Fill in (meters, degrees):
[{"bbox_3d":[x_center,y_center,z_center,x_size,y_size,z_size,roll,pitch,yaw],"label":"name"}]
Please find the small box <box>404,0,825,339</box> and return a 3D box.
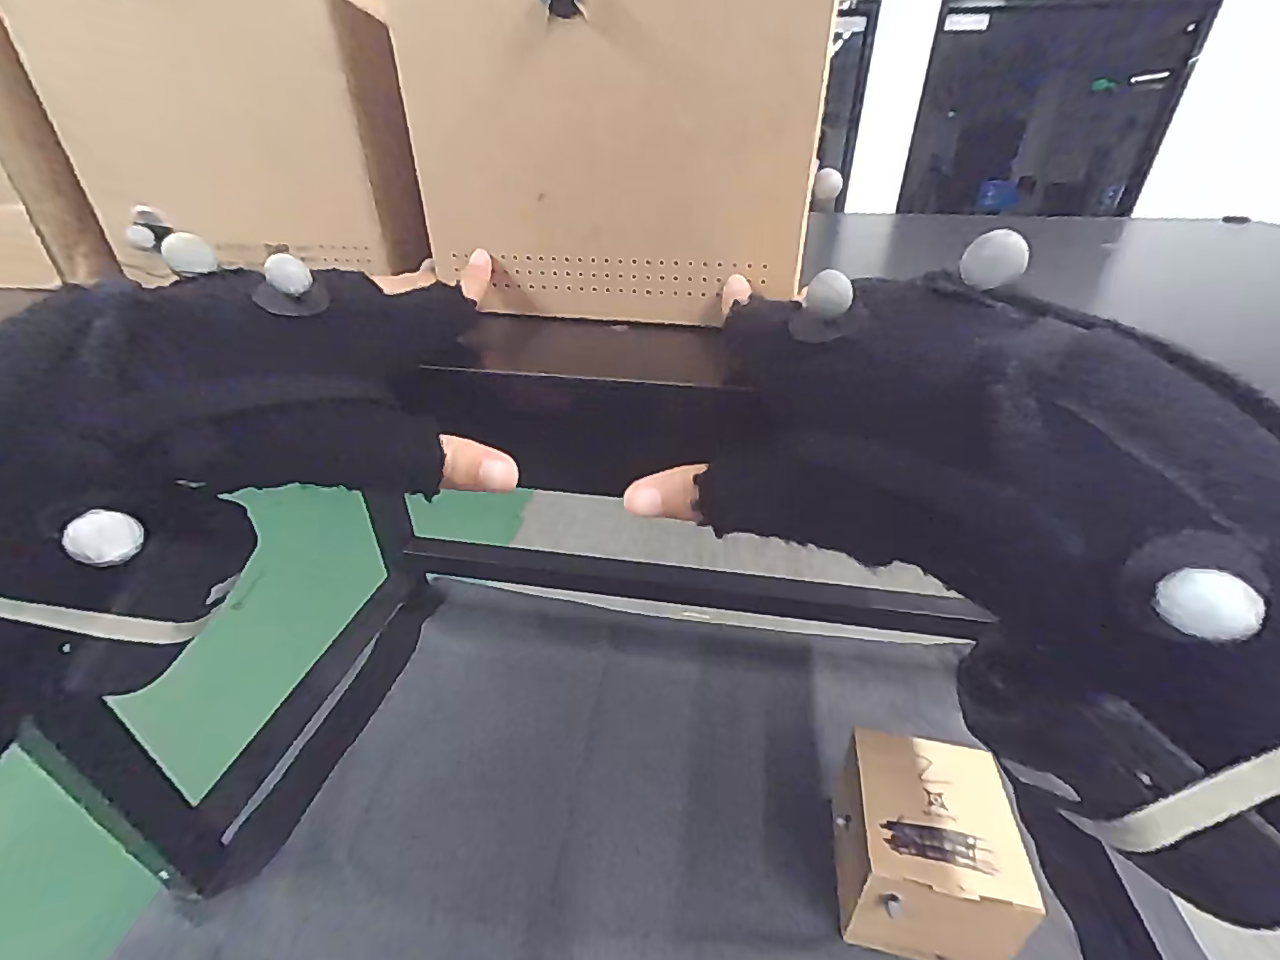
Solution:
[{"bbox_3d":[-0.001,-0.181,0.289,0.179,0.176,0.168,8,33,12],"label":"small box"}]
